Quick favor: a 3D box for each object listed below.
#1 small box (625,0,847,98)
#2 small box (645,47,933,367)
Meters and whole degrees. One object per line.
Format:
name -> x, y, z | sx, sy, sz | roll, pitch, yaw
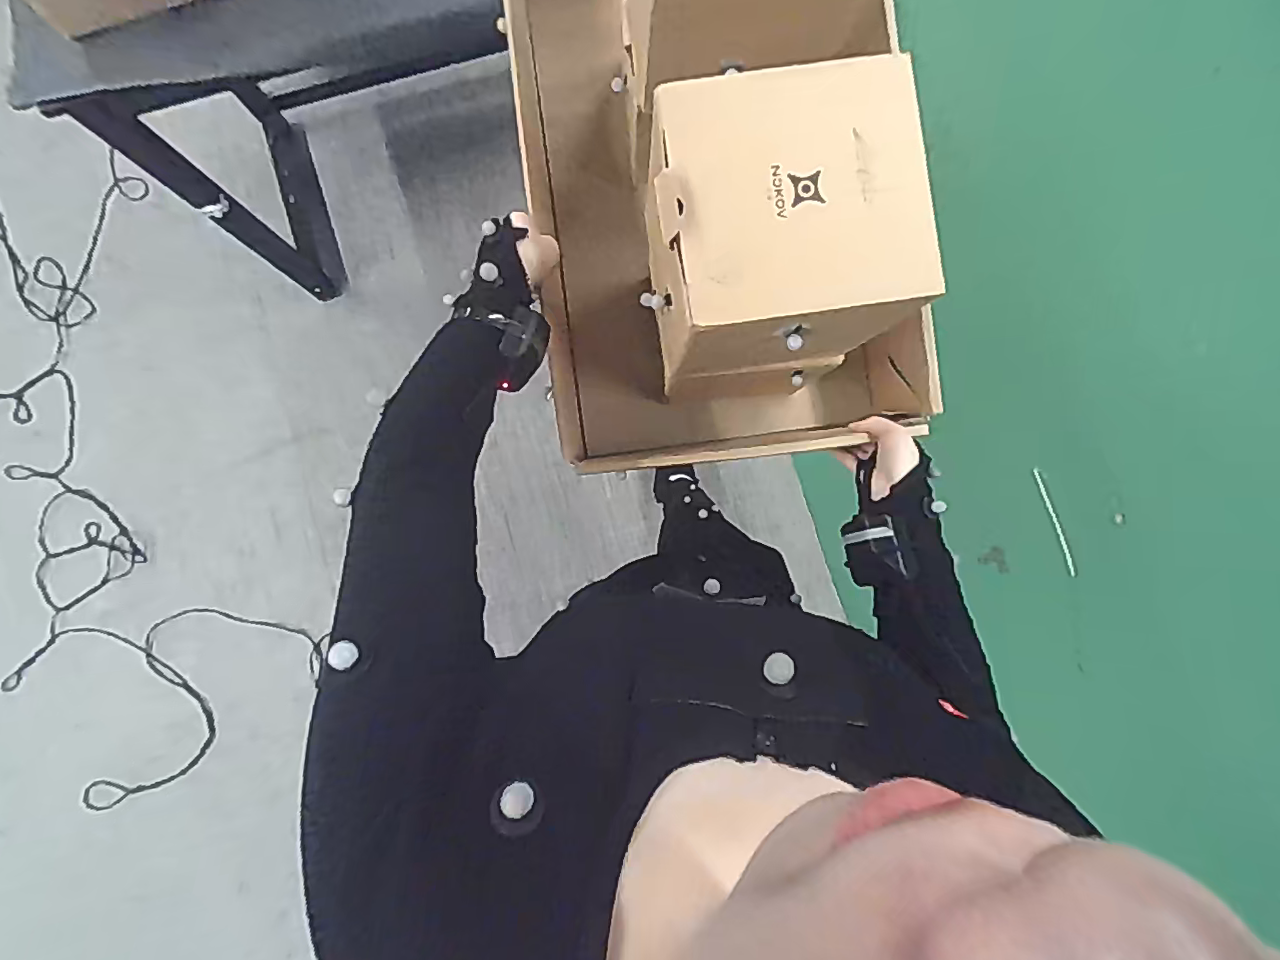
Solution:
small box -> 0.070, -0.448, 0.439 | 0.168, 0.176, 0.179 | -7, 93, -1
small box -> 0.100, -0.198, 0.443 | 0.179, 0.176, 0.168 | -9, 90, -2
